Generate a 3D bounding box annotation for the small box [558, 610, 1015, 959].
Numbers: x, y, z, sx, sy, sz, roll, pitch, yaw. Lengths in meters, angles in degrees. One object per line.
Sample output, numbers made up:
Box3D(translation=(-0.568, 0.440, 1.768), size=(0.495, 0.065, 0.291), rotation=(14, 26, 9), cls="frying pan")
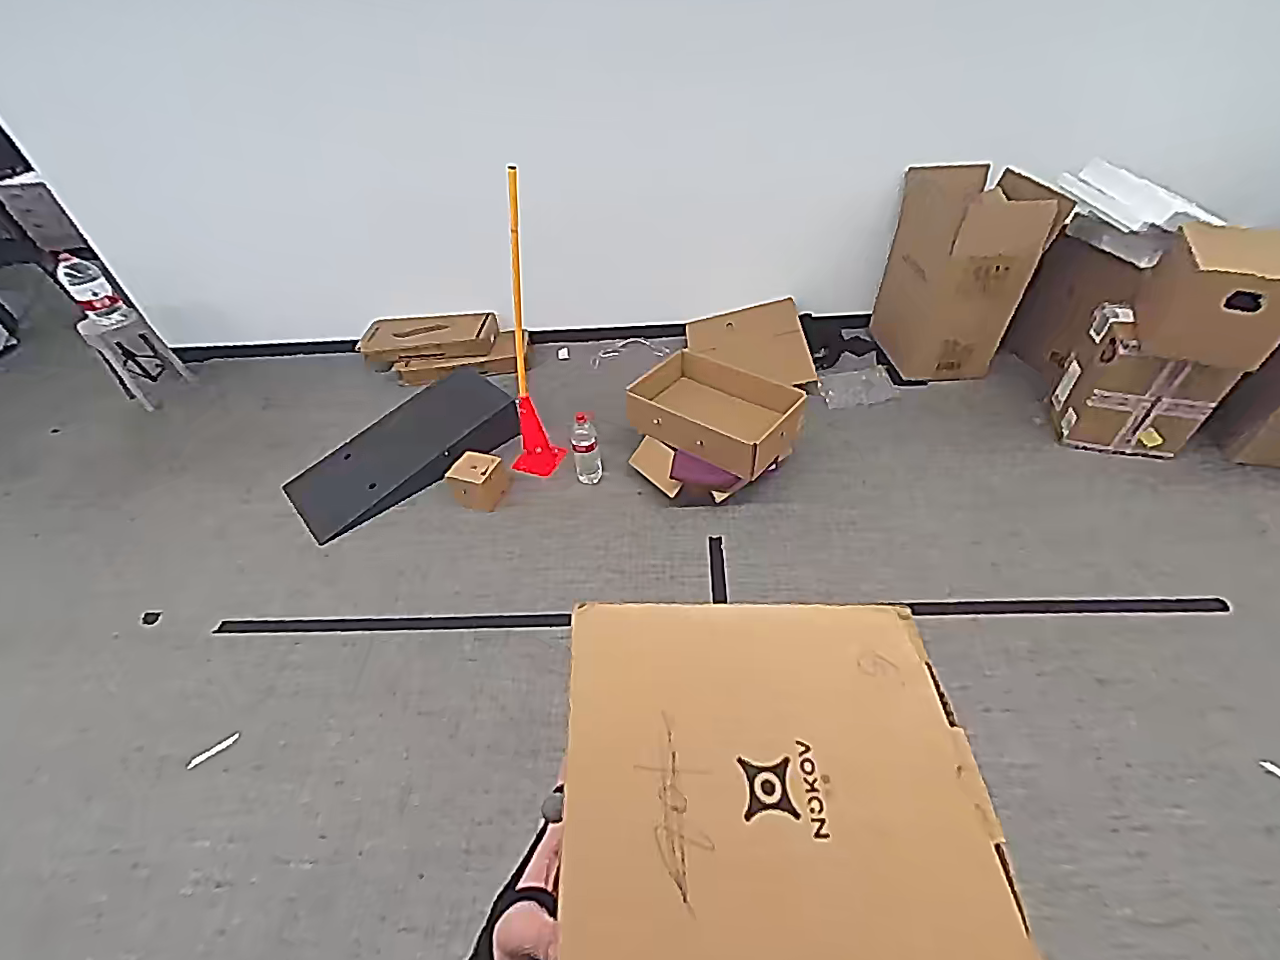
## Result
Box3D(translation=(0.049, 0.184, 0.298), size=(0.179, 0.176, 0.168), rotation=(1, 50, -4), cls="small box")
